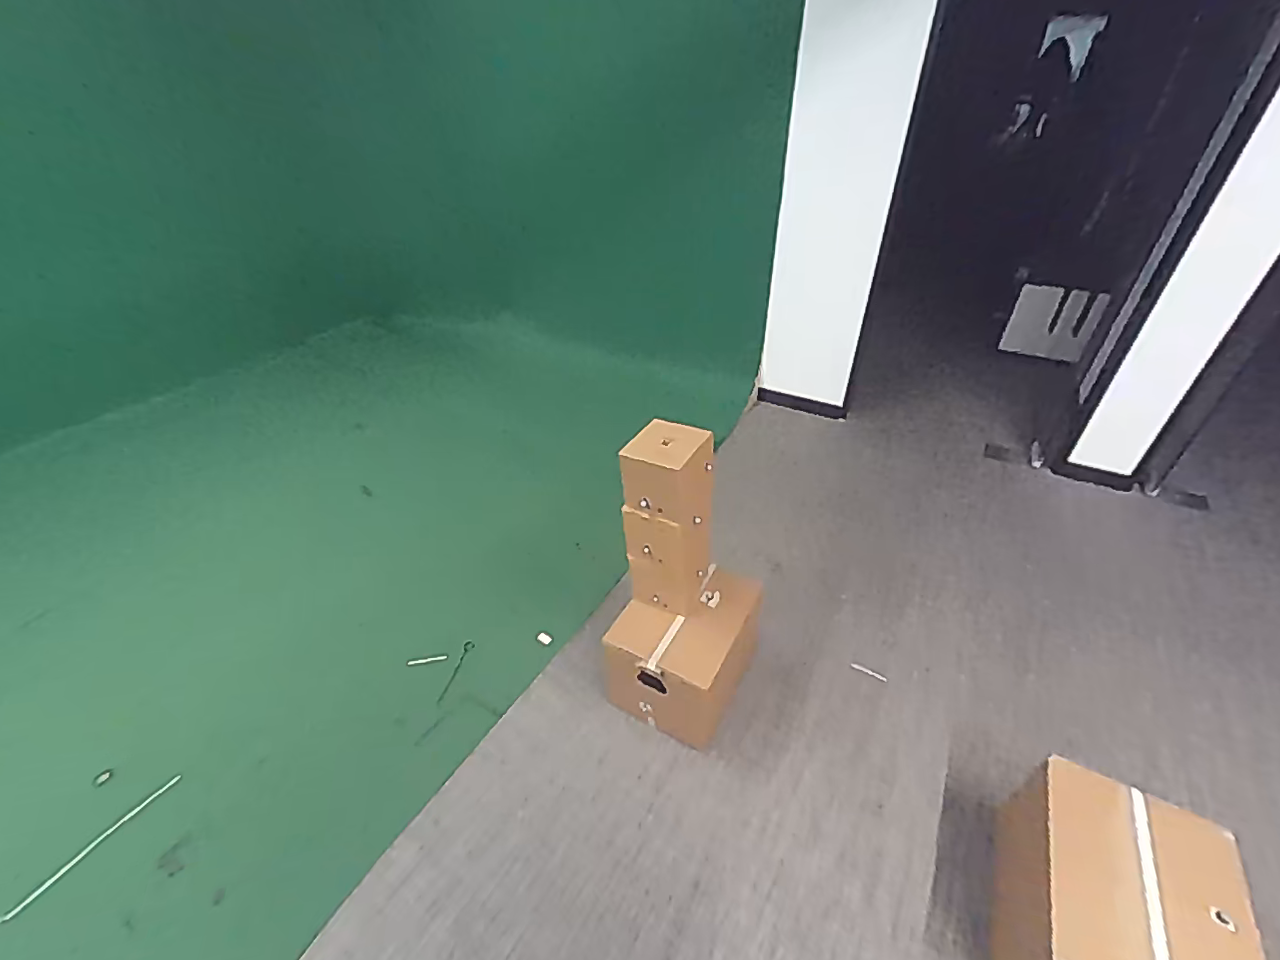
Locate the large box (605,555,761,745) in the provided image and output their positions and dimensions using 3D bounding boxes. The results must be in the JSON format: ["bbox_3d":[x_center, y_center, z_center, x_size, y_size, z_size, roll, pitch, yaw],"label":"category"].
[{"bbox_3d":[0.136,0.480,1.606,0.320,0.320,0.408,18,42,25],"label":"large box"}]

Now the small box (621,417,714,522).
[{"bbox_3d":[0.072,-0.028,1.334,0.168,0.176,0.179,17,43,28],"label":"small box"}]

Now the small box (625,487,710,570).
[{"bbox_3d":[0.076,0.105,1.429,0.168,0.176,0.179,16,42,26],"label":"small box"}]
